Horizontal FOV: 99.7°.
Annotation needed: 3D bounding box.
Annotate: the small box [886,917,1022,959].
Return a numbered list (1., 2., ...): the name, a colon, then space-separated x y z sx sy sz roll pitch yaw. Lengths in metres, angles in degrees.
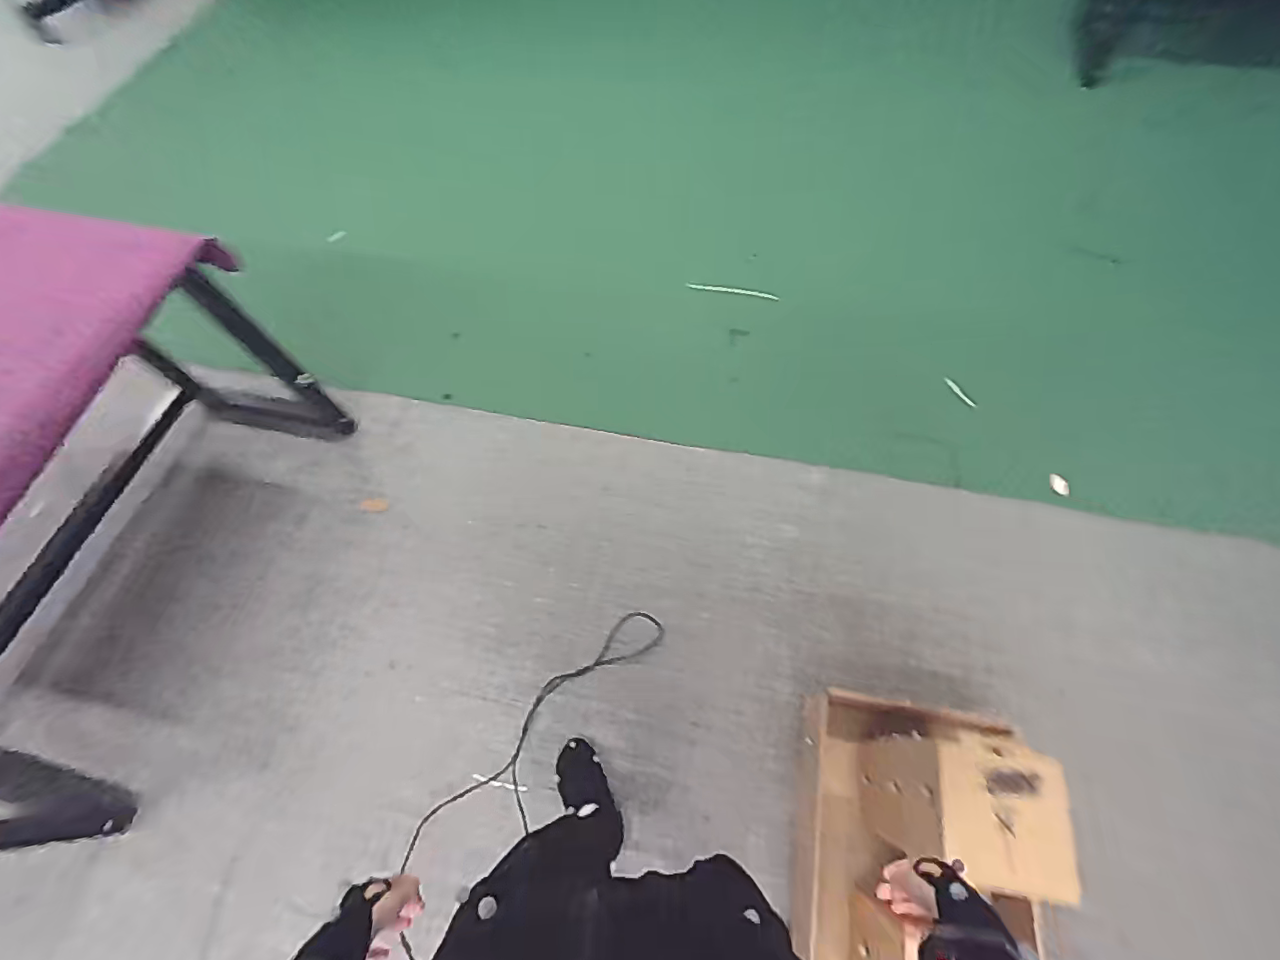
1. small box: 0.505 0.818 0.846 0.179 0.176 0.168 6 63 9

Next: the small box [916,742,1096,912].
1. small box: 0.530 0.504 0.814 0.168 0.176 0.179 5 66 11

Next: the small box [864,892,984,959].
1. small box: 0.518 0.894 0.991 0.168 0.176 0.179 6 63 10

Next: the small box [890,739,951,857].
1. small box: 0.554 0.571 0.961 0.168 0.176 0.179 5 65 11

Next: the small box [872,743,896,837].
1. small box: 0.583 0.643 1.105 0.179 0.176 0.168 5 66 9
